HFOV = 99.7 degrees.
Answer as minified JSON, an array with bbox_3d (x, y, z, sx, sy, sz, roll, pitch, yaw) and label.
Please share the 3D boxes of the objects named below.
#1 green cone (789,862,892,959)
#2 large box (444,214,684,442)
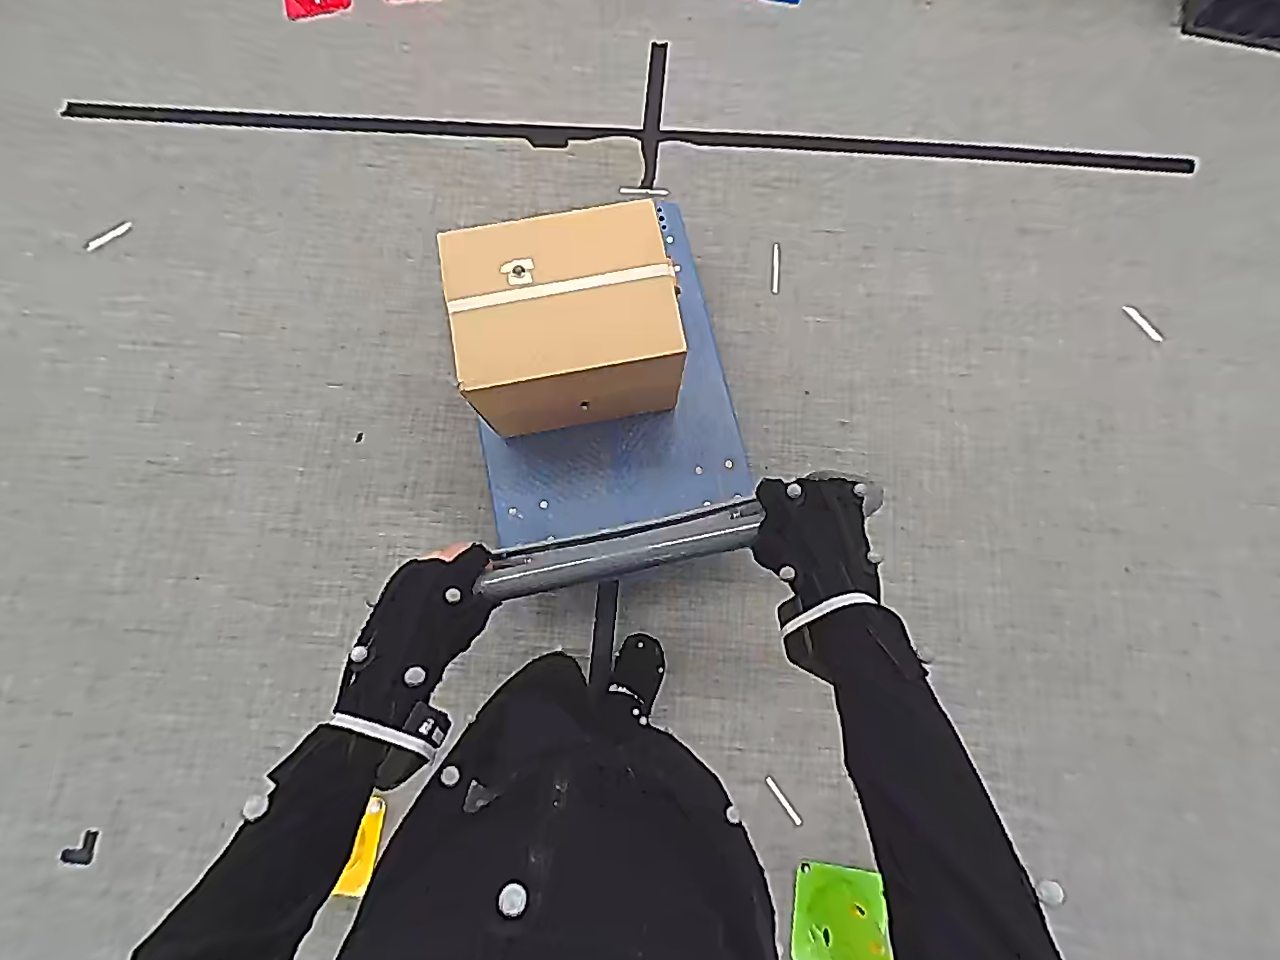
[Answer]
[{"bbox_3d":[0.436,0.926,1.020,0.202,0.368,0.200,8,78,1],"label":"green cone"},{"bbox_3d":[-0.141,-0.292,1.132,0.408,0.320,0.320,-11,79,-2],"label":"large box"}]
